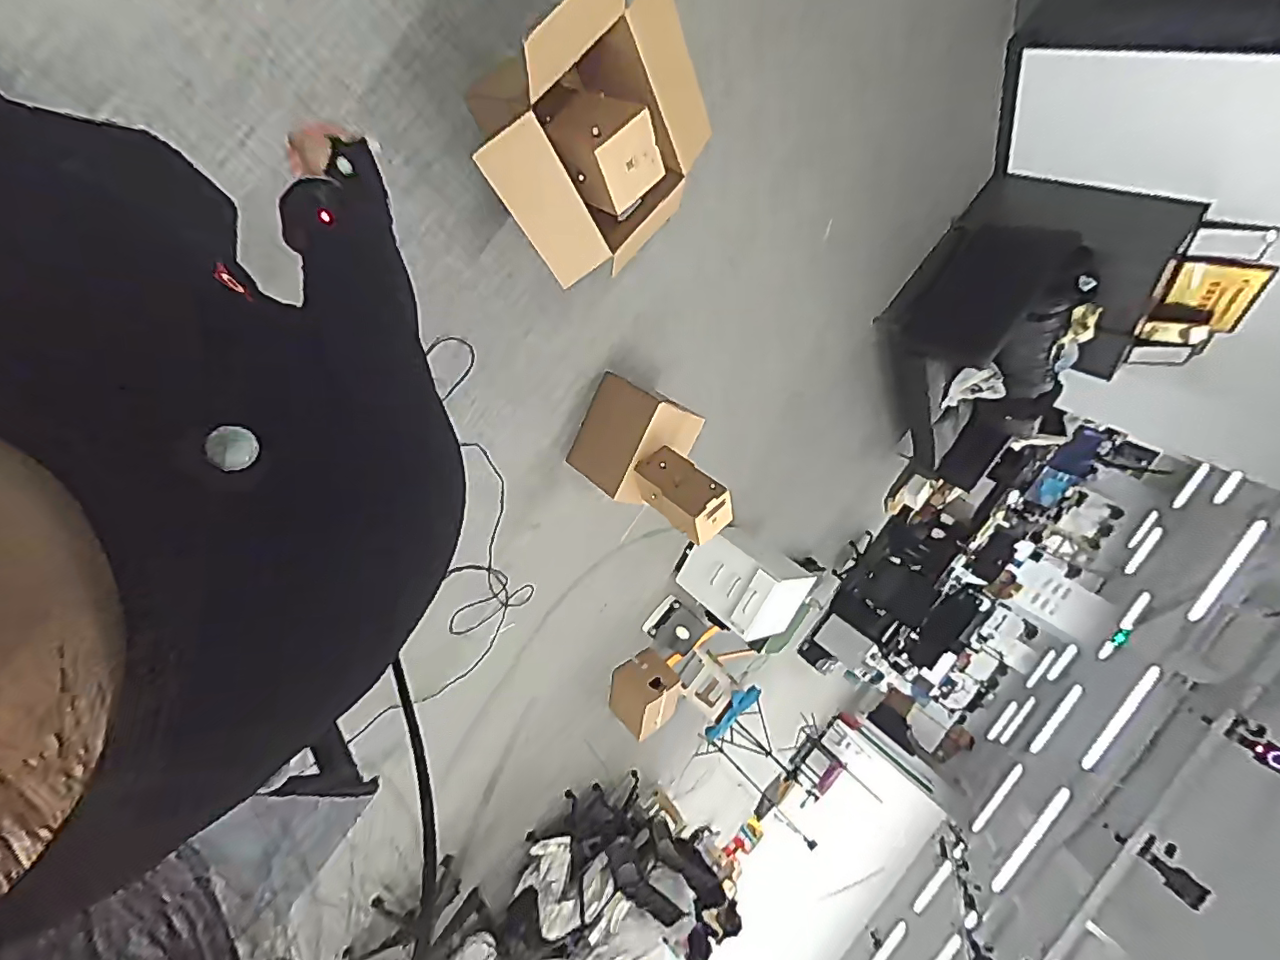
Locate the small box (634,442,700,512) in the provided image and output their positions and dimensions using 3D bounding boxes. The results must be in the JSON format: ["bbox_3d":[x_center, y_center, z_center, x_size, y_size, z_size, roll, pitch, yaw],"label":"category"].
[{"bbox_3d":[0.098,-0.021,2.016,0.168,0.176,0.179,-39,141,-19],"label":"small box"}]

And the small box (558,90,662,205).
[{"bbox_3d":[-0.078,-0.819,1.331,0.179,0.176,0.168,-46,148,-10],"label":"small box"}]
